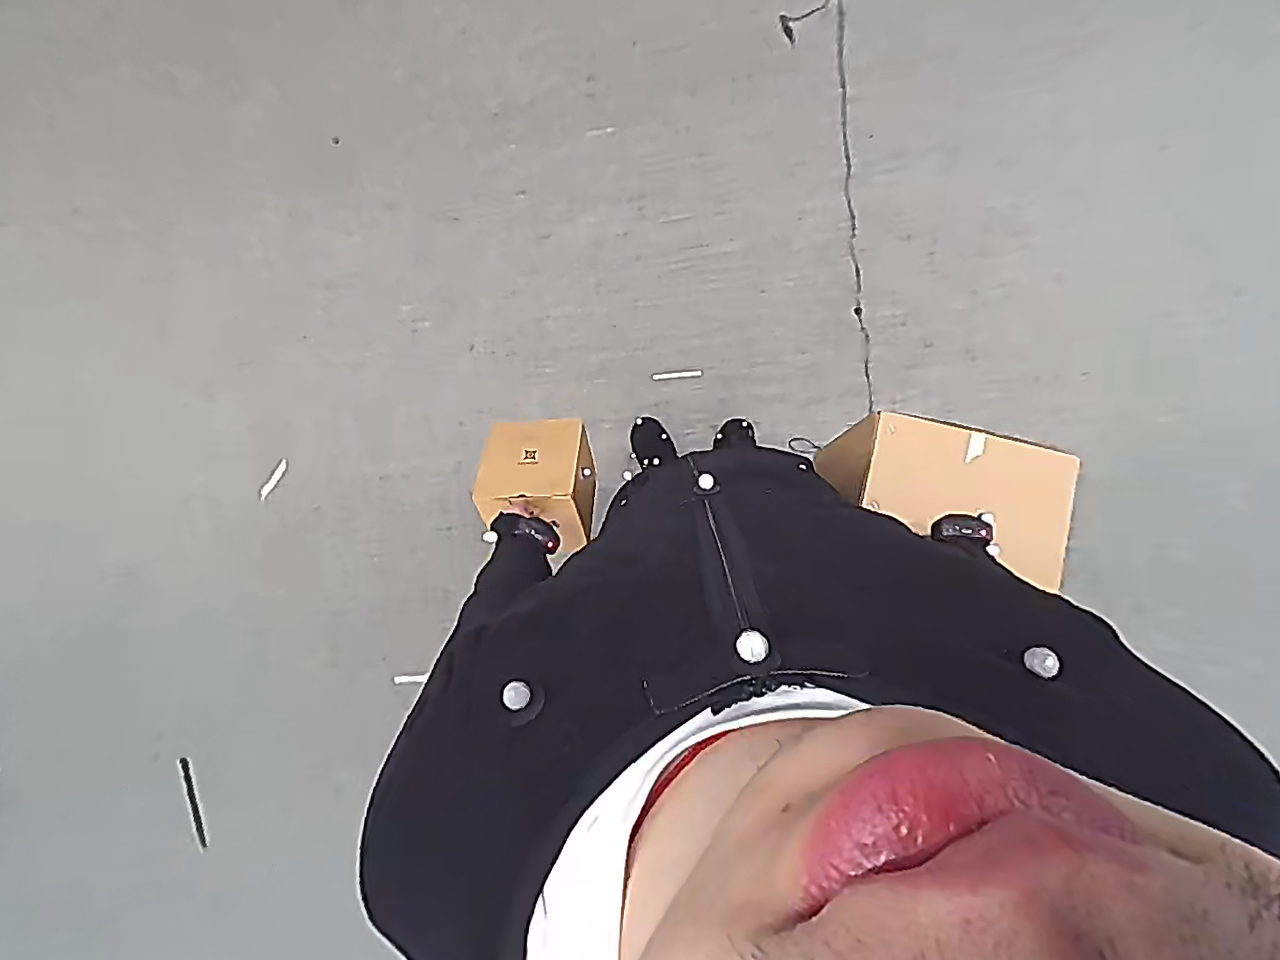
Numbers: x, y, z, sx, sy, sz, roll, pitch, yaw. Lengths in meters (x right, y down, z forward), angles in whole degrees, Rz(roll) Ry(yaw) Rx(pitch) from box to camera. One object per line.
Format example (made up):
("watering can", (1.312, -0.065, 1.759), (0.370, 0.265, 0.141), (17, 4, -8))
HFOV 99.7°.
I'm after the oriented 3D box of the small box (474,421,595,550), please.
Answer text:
("small box", (-0.178, 0.016, 0.976), (0.168, 0.179, 0.176), (-2, 141, 4))
